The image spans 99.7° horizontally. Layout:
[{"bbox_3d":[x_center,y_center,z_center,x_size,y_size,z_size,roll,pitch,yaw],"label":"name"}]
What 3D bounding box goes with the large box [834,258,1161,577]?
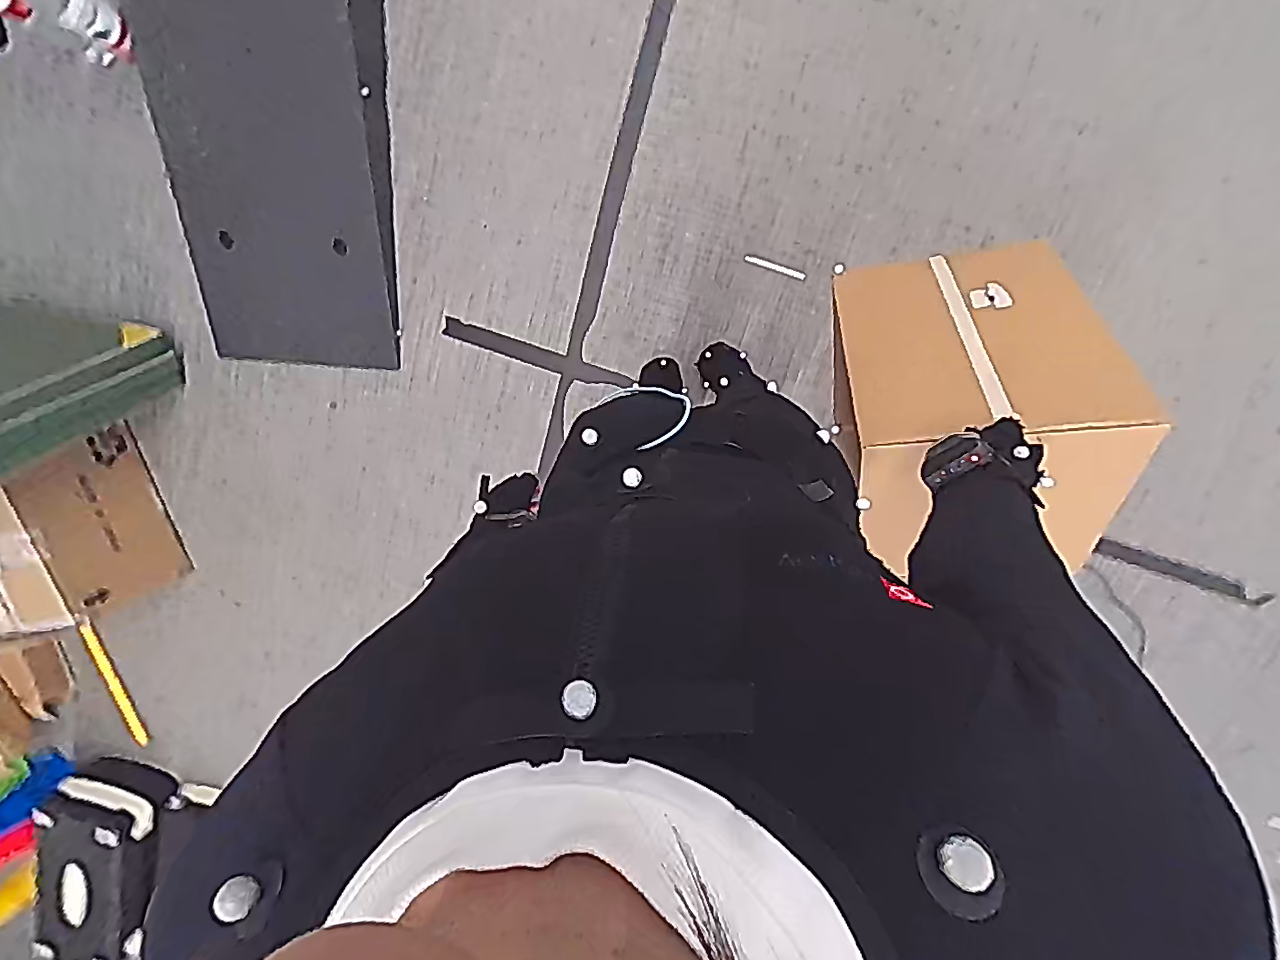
[{"bbox_3d":[0.493,-0.094,0.868,0.320,0.408,0.320,-3,138,15],"label":"large box"}]
